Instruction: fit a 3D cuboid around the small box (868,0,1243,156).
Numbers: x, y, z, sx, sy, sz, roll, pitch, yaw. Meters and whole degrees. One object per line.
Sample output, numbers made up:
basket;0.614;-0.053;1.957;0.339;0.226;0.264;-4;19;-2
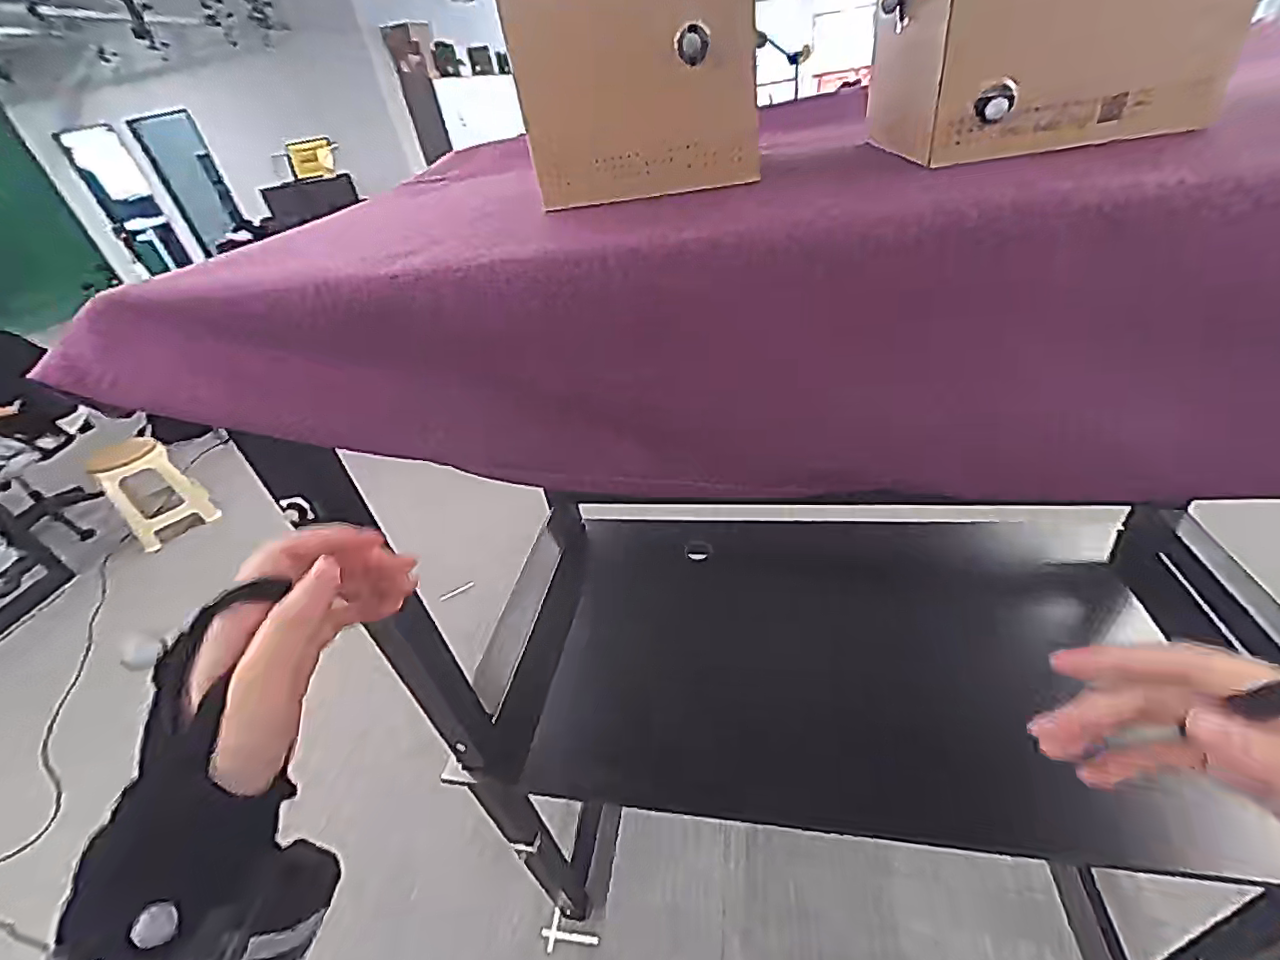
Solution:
small box;0.263;-0.328;0.361;0.168;0.176;0.179;-4;35;9

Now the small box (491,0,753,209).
small box;0.001;-0.334;0.437;0.179;0.176;0.168;-3;36;10
